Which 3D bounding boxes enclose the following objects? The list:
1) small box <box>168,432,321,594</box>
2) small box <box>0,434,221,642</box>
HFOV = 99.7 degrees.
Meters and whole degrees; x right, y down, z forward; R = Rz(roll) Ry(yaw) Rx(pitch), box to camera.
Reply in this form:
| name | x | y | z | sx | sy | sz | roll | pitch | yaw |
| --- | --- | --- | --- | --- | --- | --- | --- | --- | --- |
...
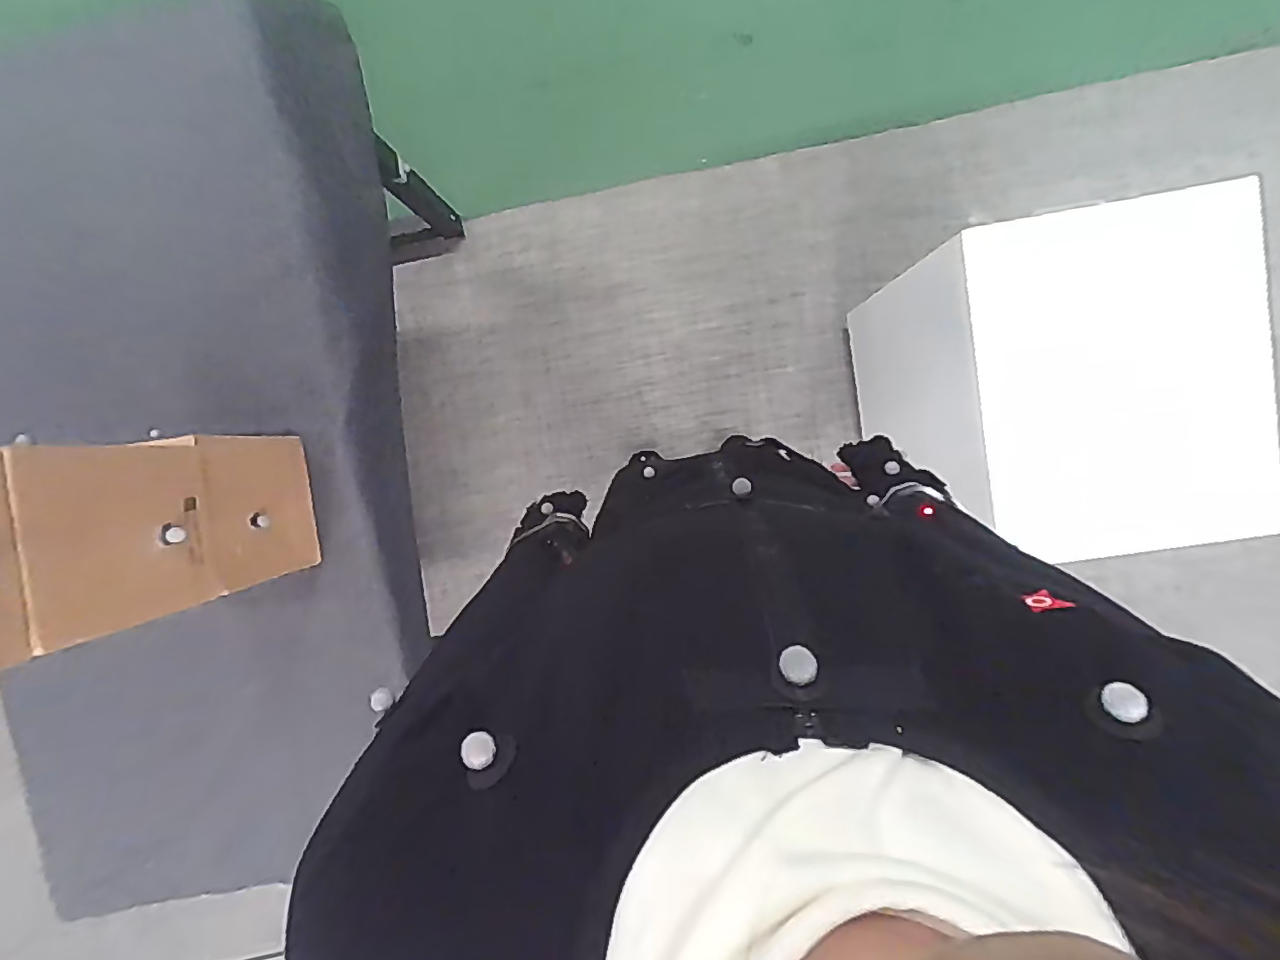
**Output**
| name | x | y | z | sx | sy | sz | roll | pitch | yaw |
| --- | --- | --- | --- | --- | --- | --- | --- | --- | --- |
| small box | -0.533 | 0.035 | 0.675 | 0.168 | 0.176 | 0.179 | -6 | 94 | 6 |
| small box | -0.553 | 0.049 | 0.512 | 0.179 | 0.176 | 0.168 | -6 | 94 | 8 |
